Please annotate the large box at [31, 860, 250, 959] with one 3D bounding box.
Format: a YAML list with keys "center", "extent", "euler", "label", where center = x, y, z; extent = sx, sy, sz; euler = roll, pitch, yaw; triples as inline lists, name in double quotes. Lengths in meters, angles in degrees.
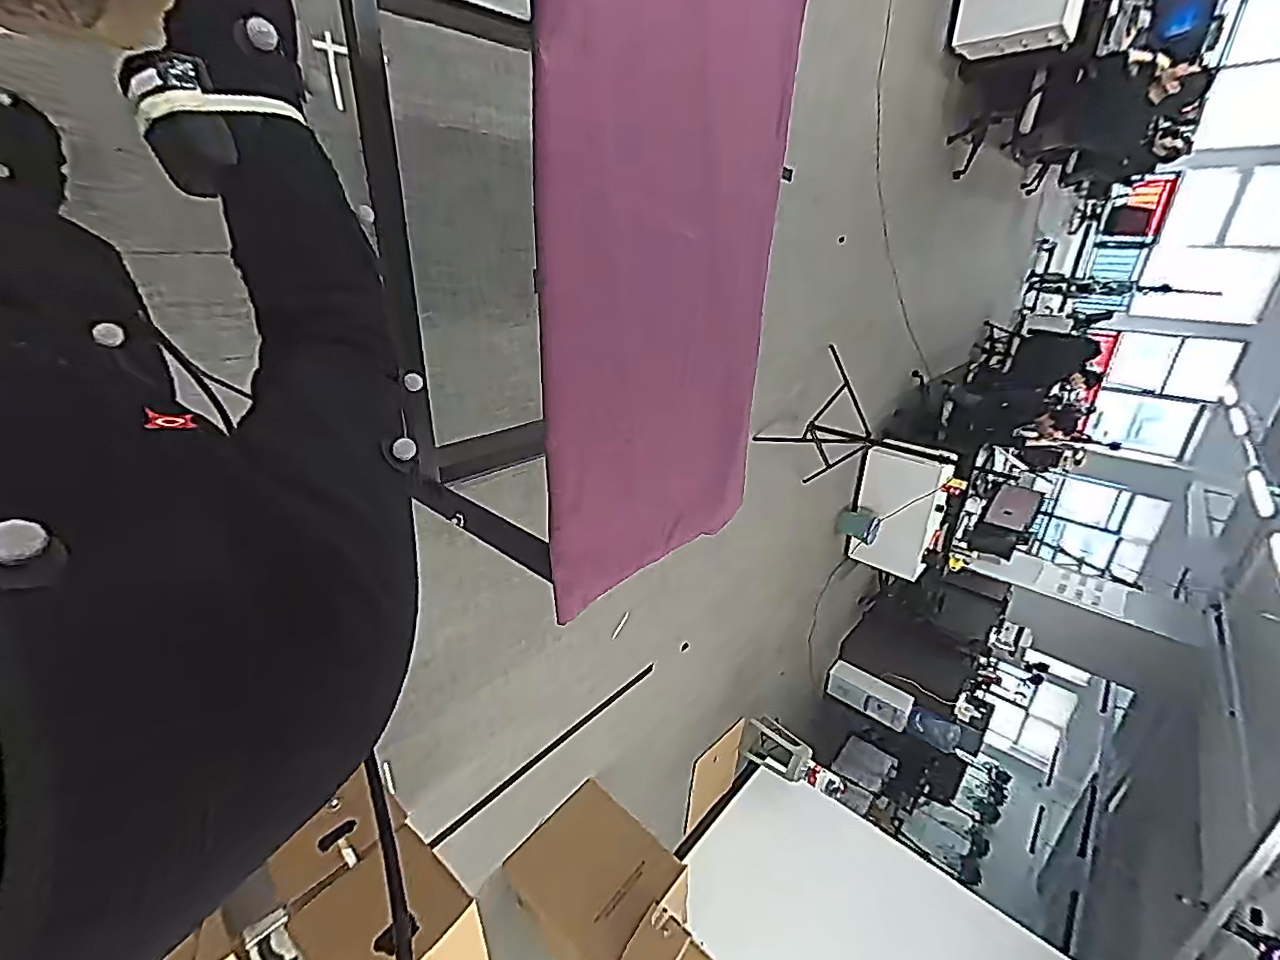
- center: [-1.127, 1.225, 1.263]
  extent: [0.320, 0.320, 0.408]
  euler: [-25, 124, -43]
  label: "large box"
